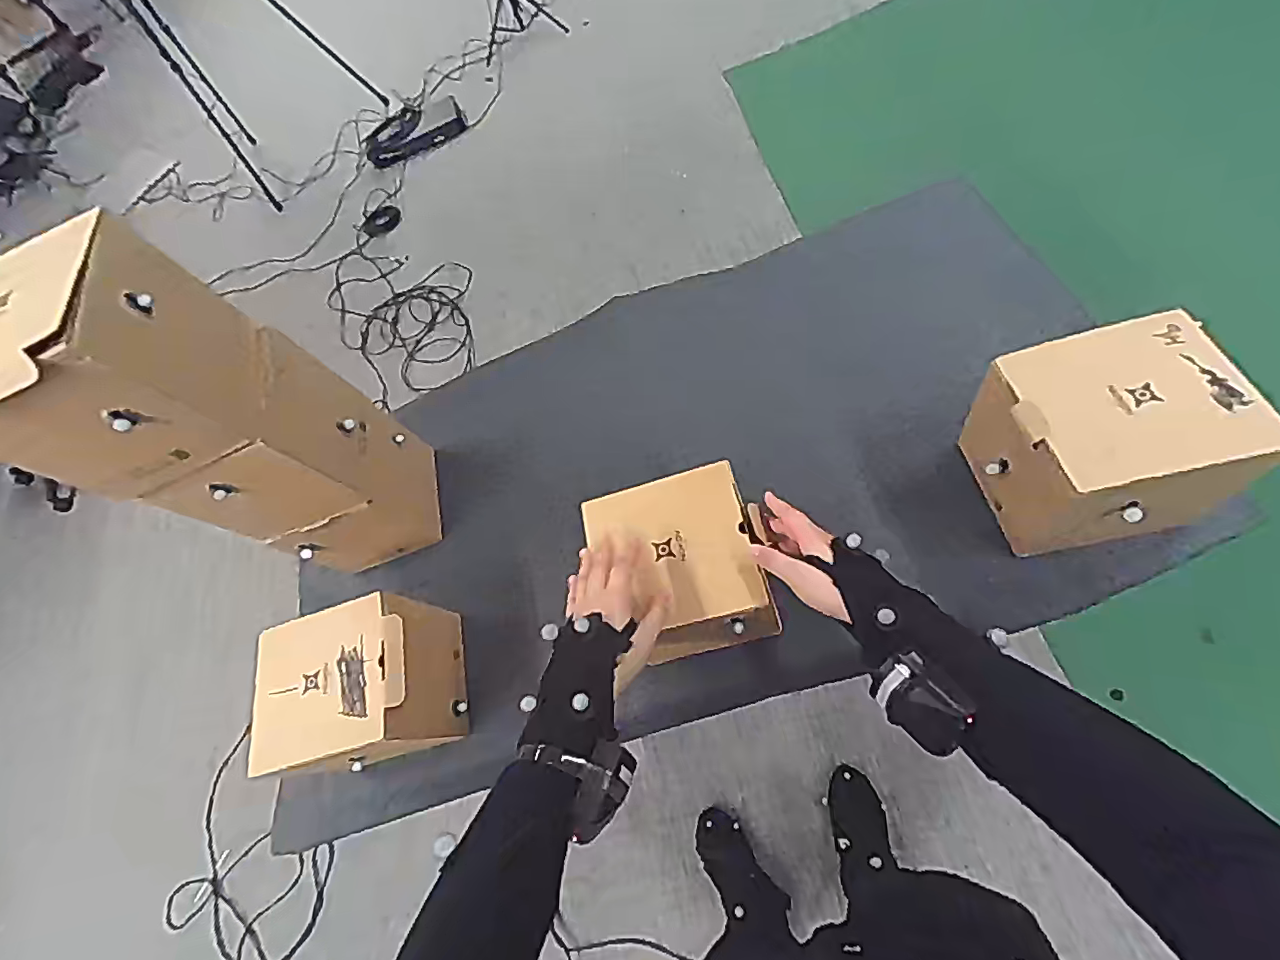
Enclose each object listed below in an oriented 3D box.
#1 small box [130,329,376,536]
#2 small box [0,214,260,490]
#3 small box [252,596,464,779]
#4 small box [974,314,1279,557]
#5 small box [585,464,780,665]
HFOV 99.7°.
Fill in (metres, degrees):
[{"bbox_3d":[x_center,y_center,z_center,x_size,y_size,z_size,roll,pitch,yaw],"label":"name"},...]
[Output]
[{"bbox_3d":[-0.460,-0.047,0.669,0.179,0.176,0.168,-19,64,7],"label":"small box"},{"bbox_3d":[-0.508,-0.107,0.527,0.168,0.176,0.179,-22,62,5],"label":"small box"},{"bbox_3d":[-0.339,0.261,0.684,0.179,0.176,0.168,-19,63,8],"label":"small box"},{"bbox_3d":[0.477,-0.033,0.564,0.179,0.176,0.168,-15,59,11],"label":"small box"},{"bbox_3d":[0.054,0.109,0.636,0.179,0.176,0.168,-17,62,9],"label":"small box"}]
